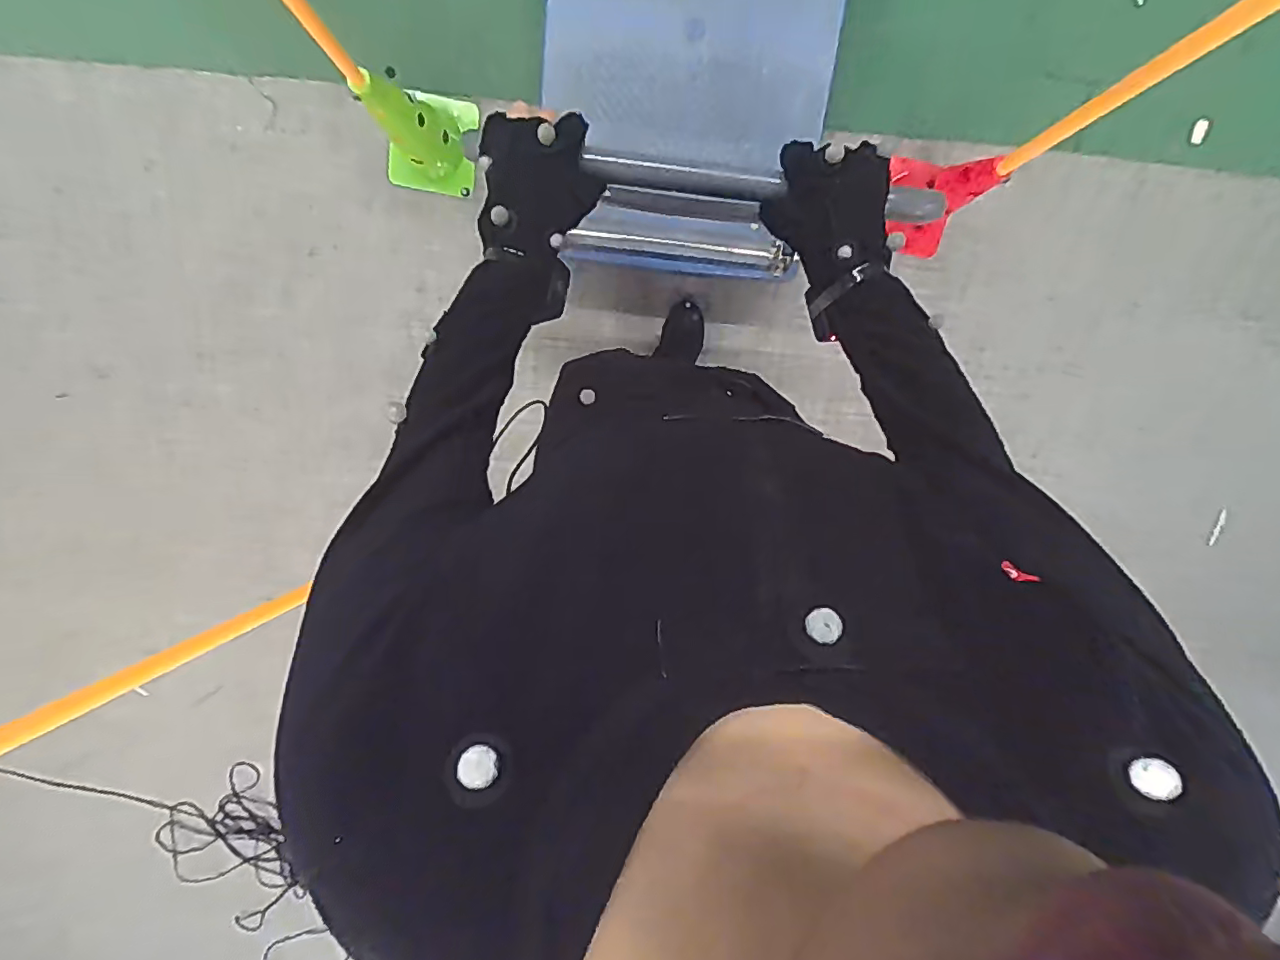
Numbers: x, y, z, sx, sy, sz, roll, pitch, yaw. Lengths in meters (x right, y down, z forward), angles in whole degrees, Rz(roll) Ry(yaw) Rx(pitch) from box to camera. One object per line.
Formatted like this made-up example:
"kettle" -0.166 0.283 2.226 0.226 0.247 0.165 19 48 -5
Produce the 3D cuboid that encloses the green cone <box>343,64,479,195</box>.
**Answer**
"green cone" -0.482 -0.742 1.098 0.202 0.368 0.200 10 105 -2
